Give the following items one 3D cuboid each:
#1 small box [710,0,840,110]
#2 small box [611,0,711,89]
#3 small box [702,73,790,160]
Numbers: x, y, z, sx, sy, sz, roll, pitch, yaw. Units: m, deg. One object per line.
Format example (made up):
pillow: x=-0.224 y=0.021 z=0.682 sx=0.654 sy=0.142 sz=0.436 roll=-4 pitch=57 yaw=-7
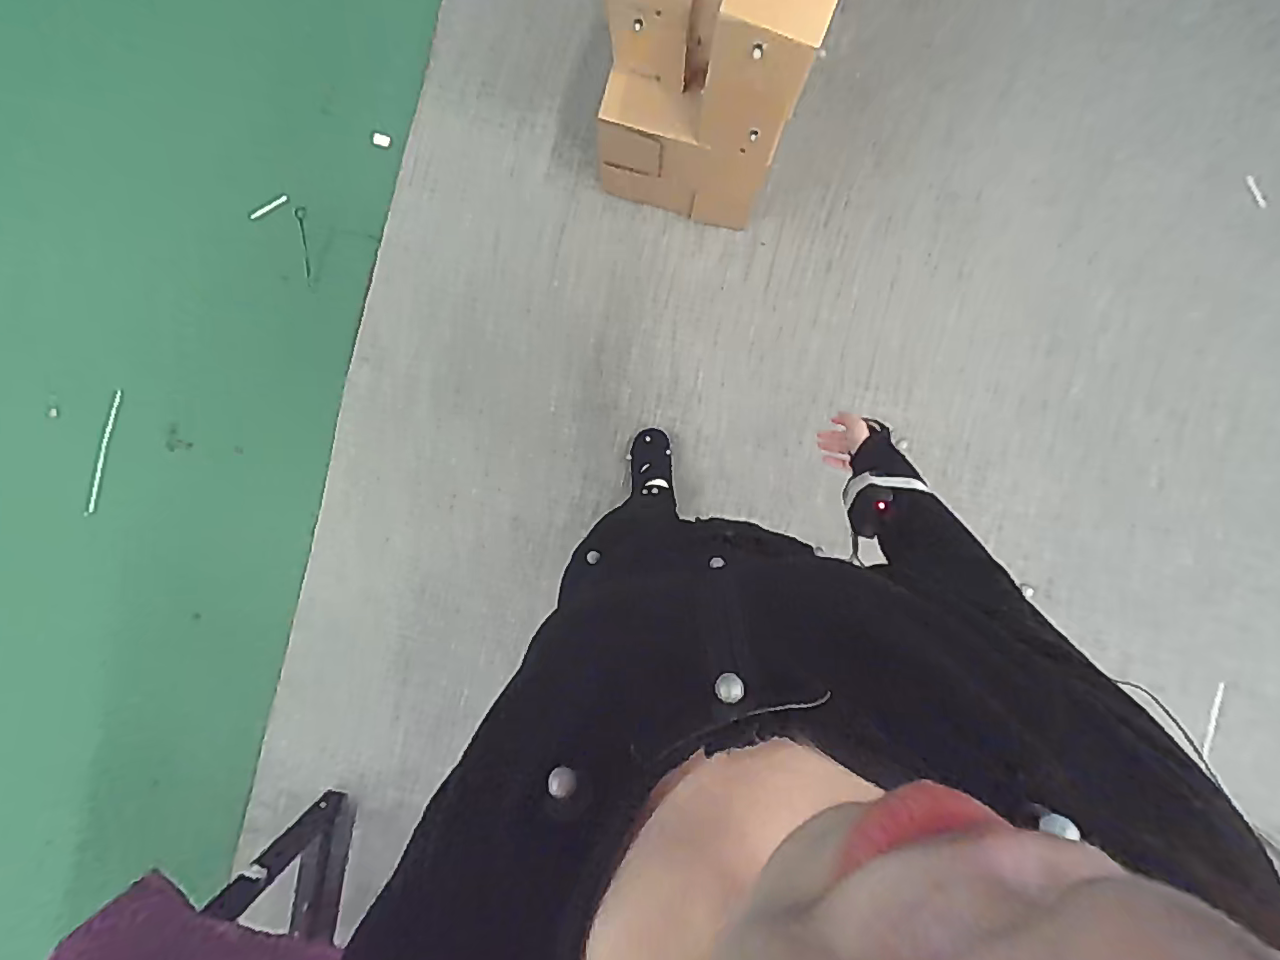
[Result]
small box: x=0.235 y=-0.791 z=0.939 sx=0.179 sy=0.176 sz=0.168 roll=21 pitch=89 yaw=1
small box: x=0.048 y=-0.966 z=1.112 sx=0.168 sy=0.176 sz=0.179 roll=20 pitch=88 yaw=3
small box: x=0.231 y=-0.799 z=1.102 sx=0.168 sy=0.176 sz=0.179 roll=20 pitch=88 yaw=1
